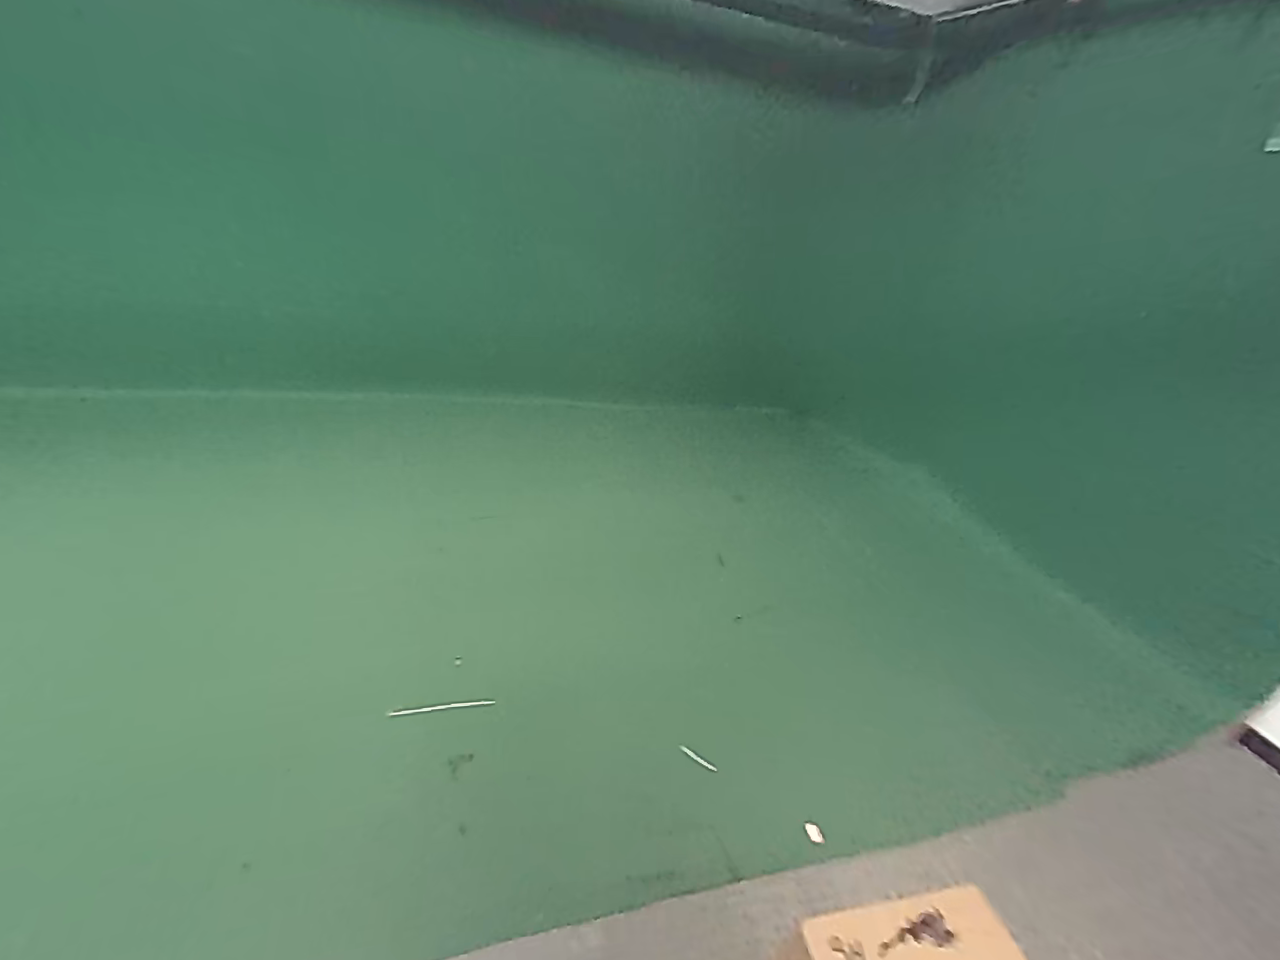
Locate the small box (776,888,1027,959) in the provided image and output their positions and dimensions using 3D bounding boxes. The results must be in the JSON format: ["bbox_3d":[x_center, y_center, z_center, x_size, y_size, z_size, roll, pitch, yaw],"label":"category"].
[{"bbox_3d":[0.205,0.447,0.398,0.168,0.176,0.179,1,32,-13],"label":"small box"}]
